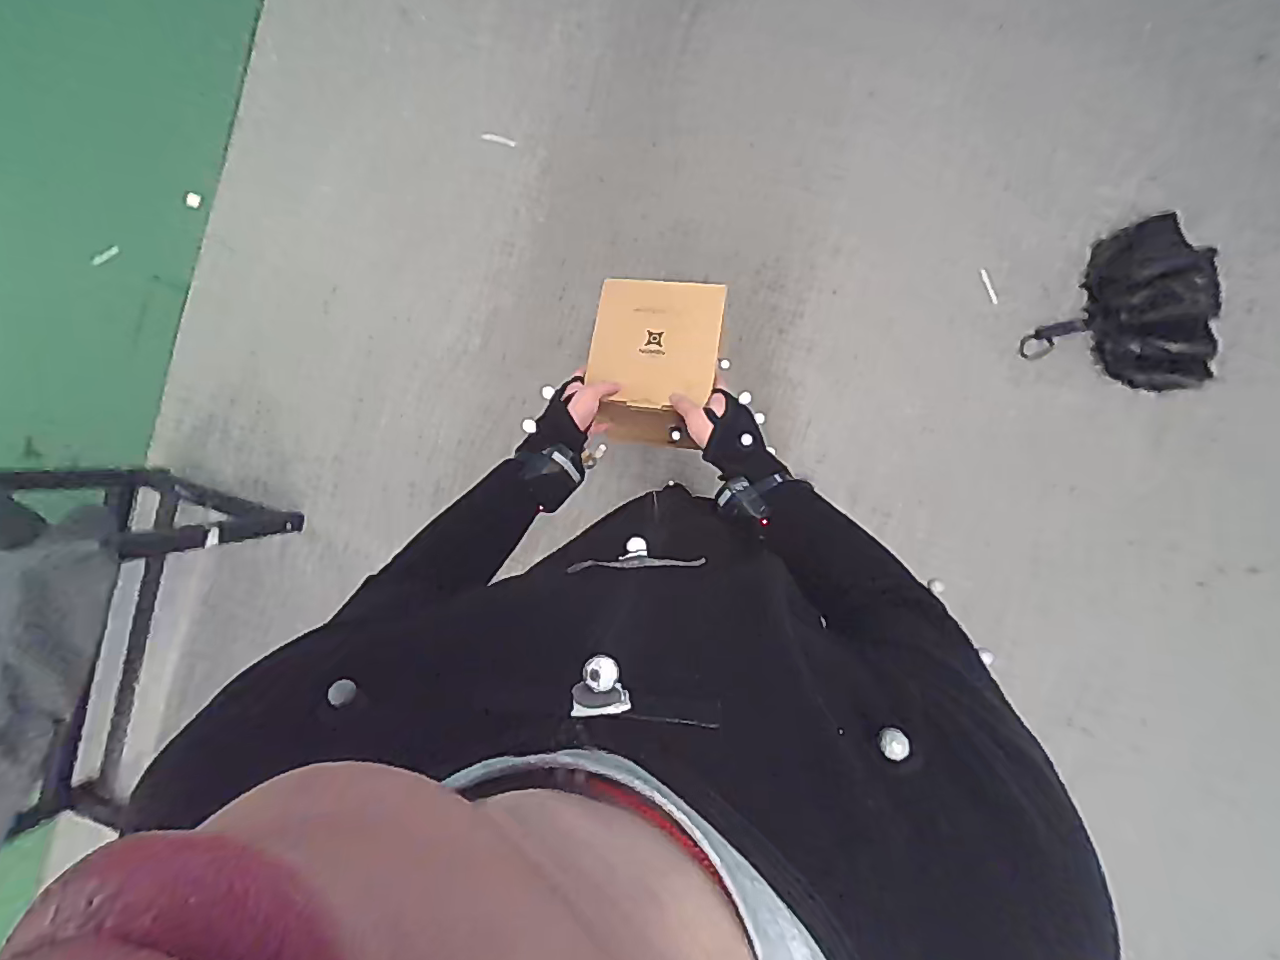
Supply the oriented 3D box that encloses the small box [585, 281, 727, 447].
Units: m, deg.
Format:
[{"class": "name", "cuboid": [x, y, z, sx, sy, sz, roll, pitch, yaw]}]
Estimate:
[{"class": "small box", "cuboid": [0.033, -0.156, 0.767, 0.168, 0.176, 0.179, 5, 74, 11]}]
